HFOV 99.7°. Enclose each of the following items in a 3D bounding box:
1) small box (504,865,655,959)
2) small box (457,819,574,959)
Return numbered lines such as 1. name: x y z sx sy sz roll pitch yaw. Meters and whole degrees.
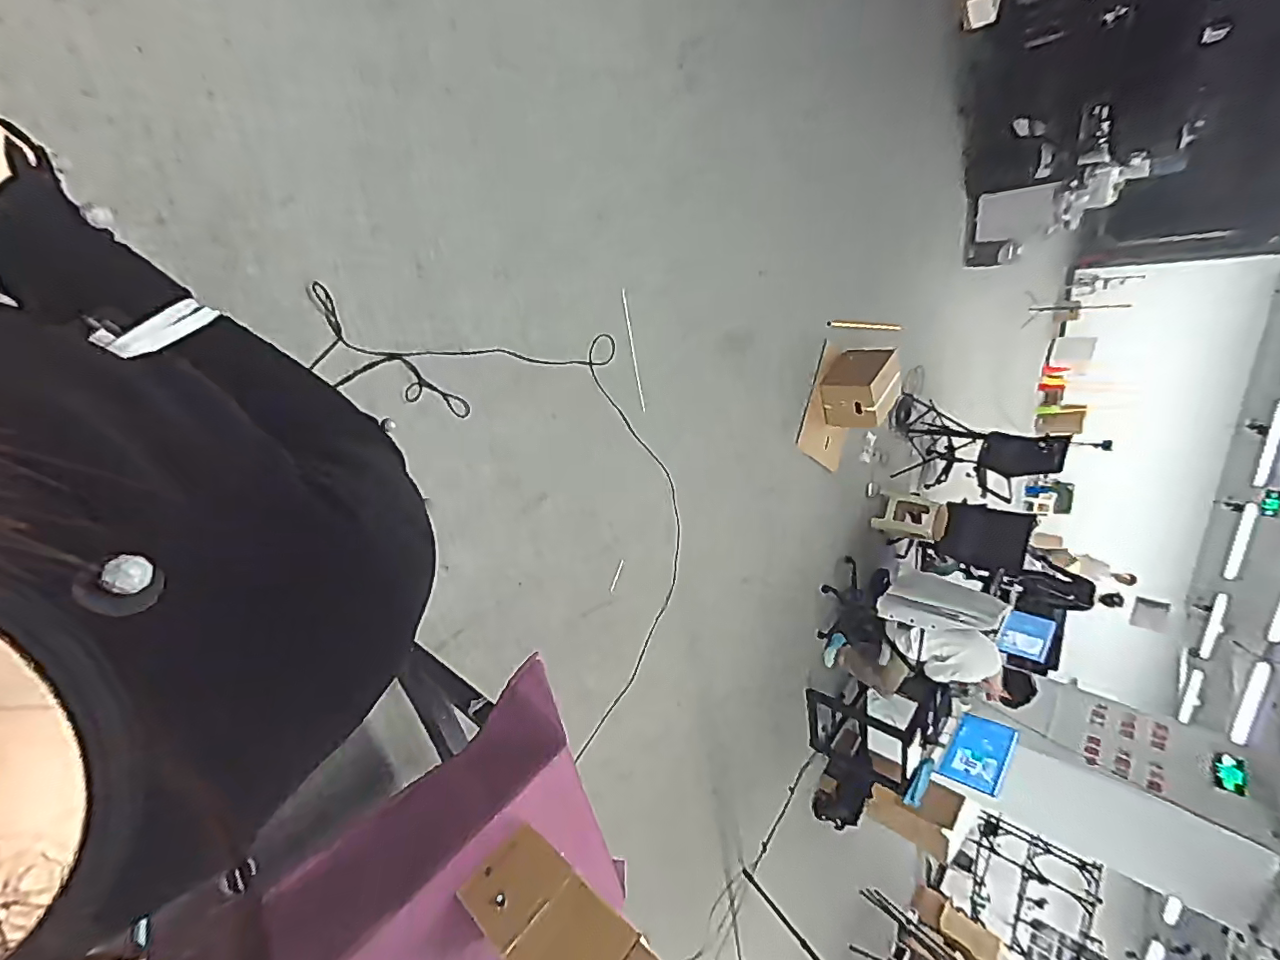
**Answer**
1. small box: -0.102 0.829 0.940 0.179 0.176 0.168 -36 125 -34
2. small box: -0.223 0.802 1.045 0.168 0.176 0.179 -35 125 -36
